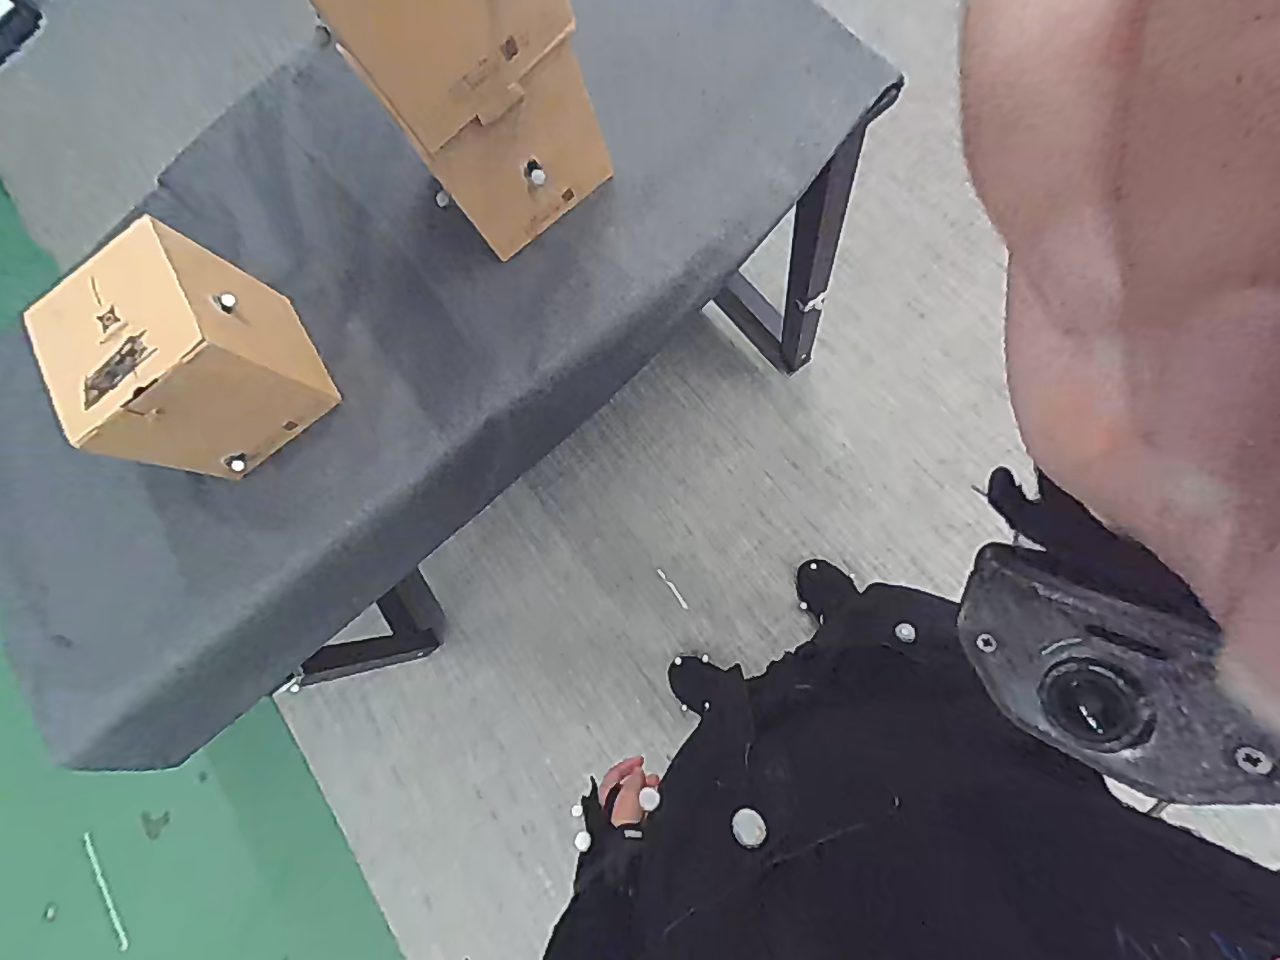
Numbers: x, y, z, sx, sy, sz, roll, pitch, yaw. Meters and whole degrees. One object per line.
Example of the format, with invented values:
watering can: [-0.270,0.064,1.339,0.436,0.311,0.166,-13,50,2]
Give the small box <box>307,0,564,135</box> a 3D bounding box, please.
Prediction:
small box: [-0.185,-0.412,0.413,0.168,0.176,0.179,-38,74,2]

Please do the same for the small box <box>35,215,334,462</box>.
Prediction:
small box: [-0.481,-0.135,0.594,0.168,0.176,0.179,-35,74,3]

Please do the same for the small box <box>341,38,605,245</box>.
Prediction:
small box: [-0.160,-0.384,0.572,0.168,0.176,0.179,-37,75,3]
